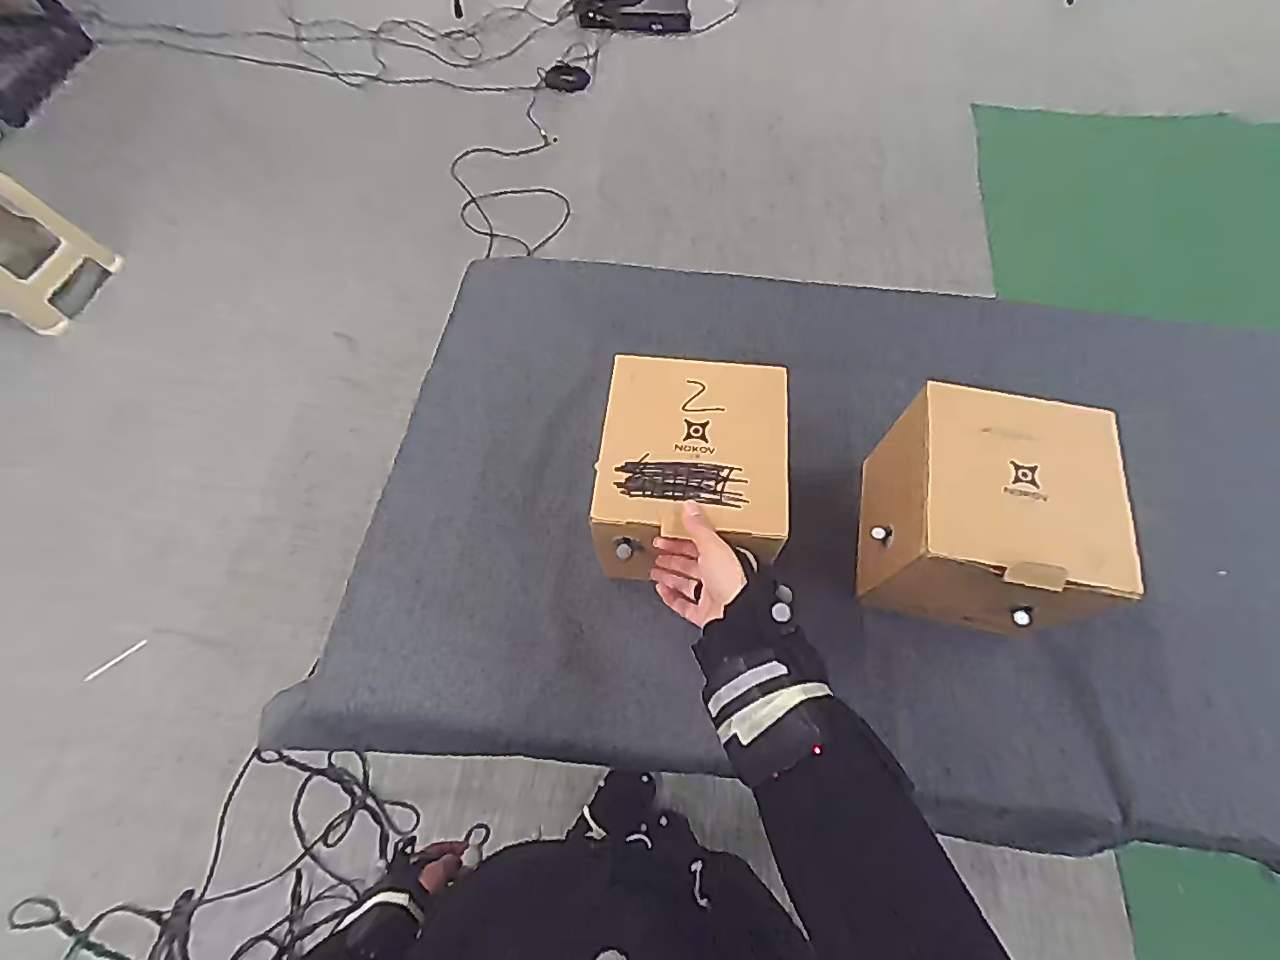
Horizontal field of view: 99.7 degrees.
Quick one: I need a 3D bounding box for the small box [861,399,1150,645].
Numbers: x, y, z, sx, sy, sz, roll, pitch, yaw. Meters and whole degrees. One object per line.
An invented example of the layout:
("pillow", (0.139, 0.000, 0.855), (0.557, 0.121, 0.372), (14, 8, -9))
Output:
("small box", (0.328, 0.050, 0.529), (0.168, 0.176, 0.179), (10, 63, 6))
